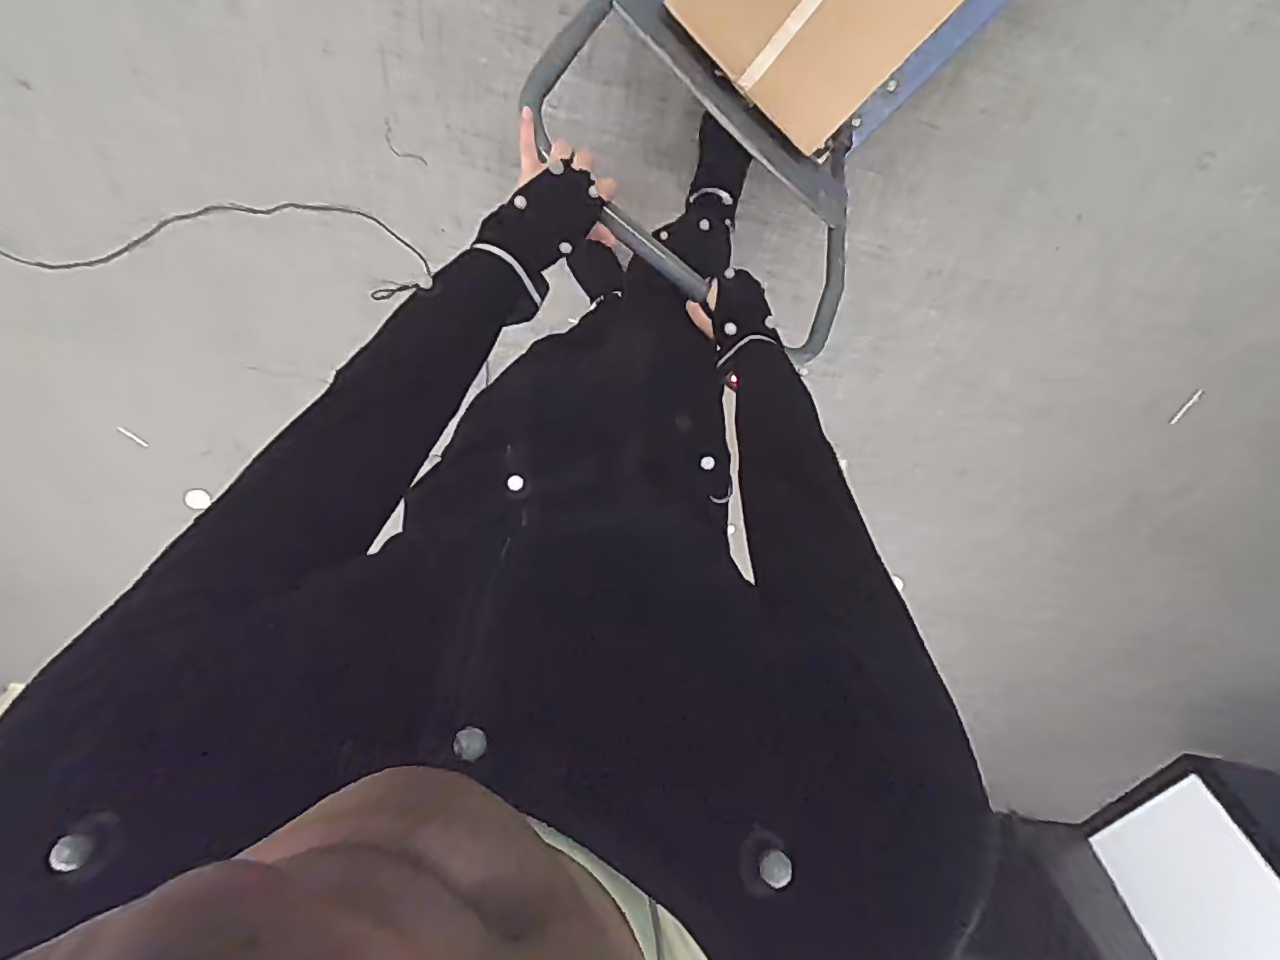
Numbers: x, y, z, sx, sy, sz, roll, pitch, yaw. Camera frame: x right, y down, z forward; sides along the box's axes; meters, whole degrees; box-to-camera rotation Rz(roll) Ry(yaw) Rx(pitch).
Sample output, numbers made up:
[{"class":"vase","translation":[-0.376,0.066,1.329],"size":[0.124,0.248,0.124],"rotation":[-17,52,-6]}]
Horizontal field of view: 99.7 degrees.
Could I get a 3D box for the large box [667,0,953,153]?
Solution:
[{"class":"large box","translation":[0.294,-0.806,0.793],"size":[0.320,0.320,0.408],"rotation":[31,138,-23]}]
